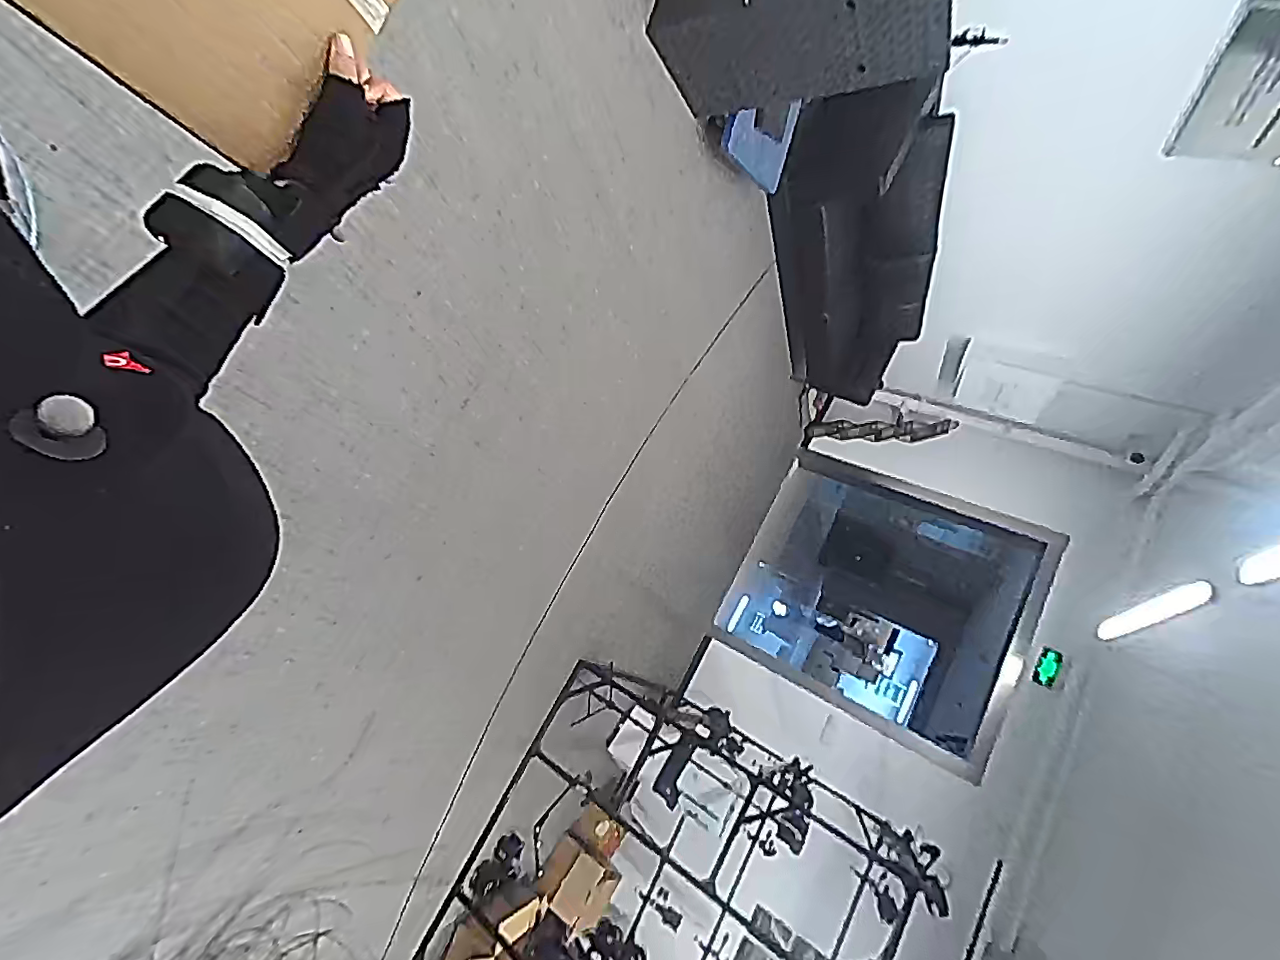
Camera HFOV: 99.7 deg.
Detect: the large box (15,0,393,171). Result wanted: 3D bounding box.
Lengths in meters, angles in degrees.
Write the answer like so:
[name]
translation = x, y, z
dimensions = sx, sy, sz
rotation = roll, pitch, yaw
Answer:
[large box]
translation = -0.392, -0.493, 0.318
dimensions = 0.320, 0.320, 0.408
rotation = -53, 155, 2
